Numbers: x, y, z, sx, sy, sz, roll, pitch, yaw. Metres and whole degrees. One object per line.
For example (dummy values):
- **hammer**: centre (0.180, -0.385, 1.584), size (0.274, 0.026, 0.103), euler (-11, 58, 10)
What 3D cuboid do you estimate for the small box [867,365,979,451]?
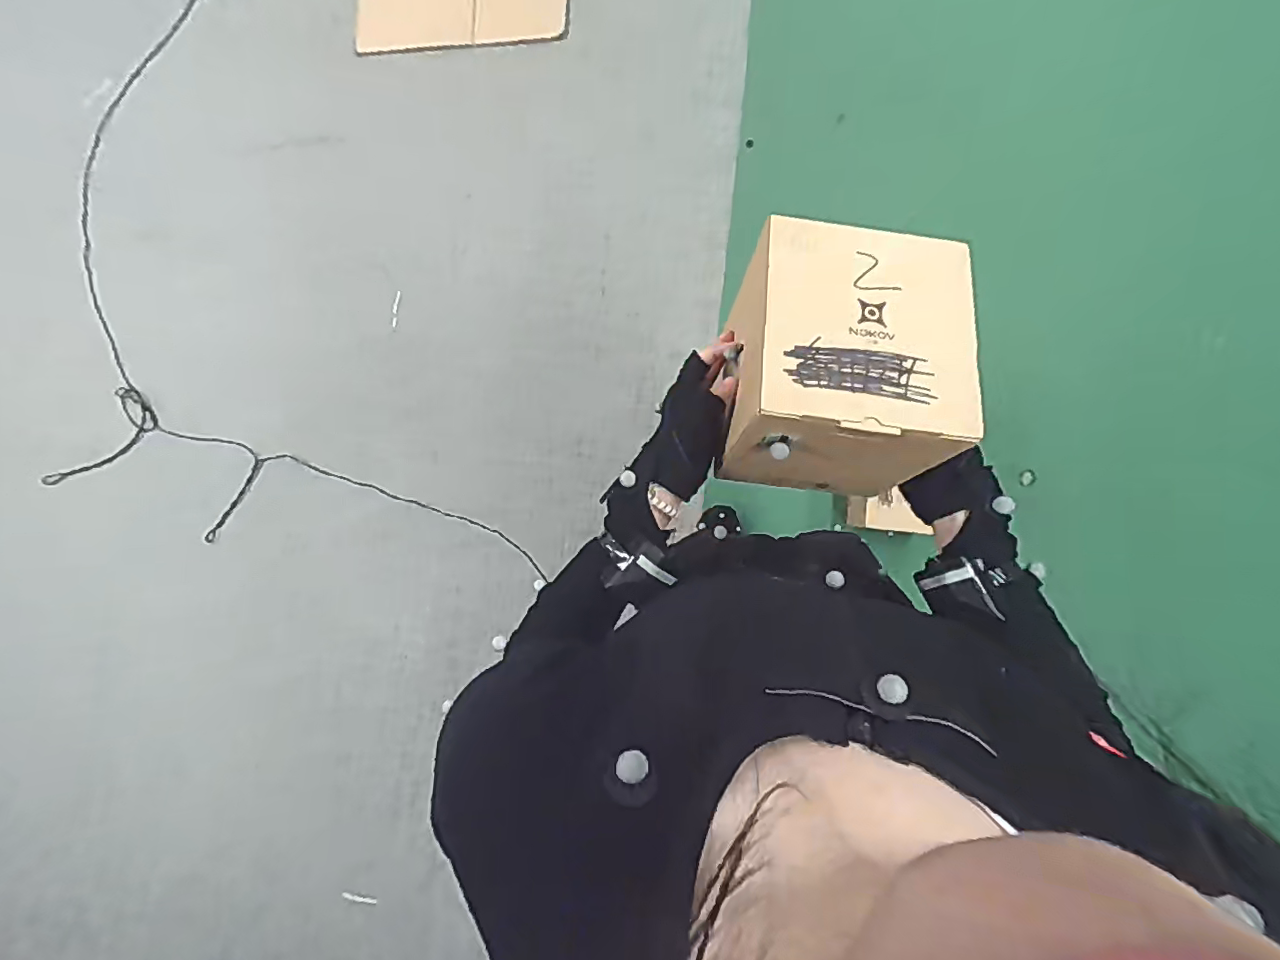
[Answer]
- **small box**: centre (0.624, -0.156, 1.207), size (0.179, 0.176, 0.168), euler (2, 88, 8)
